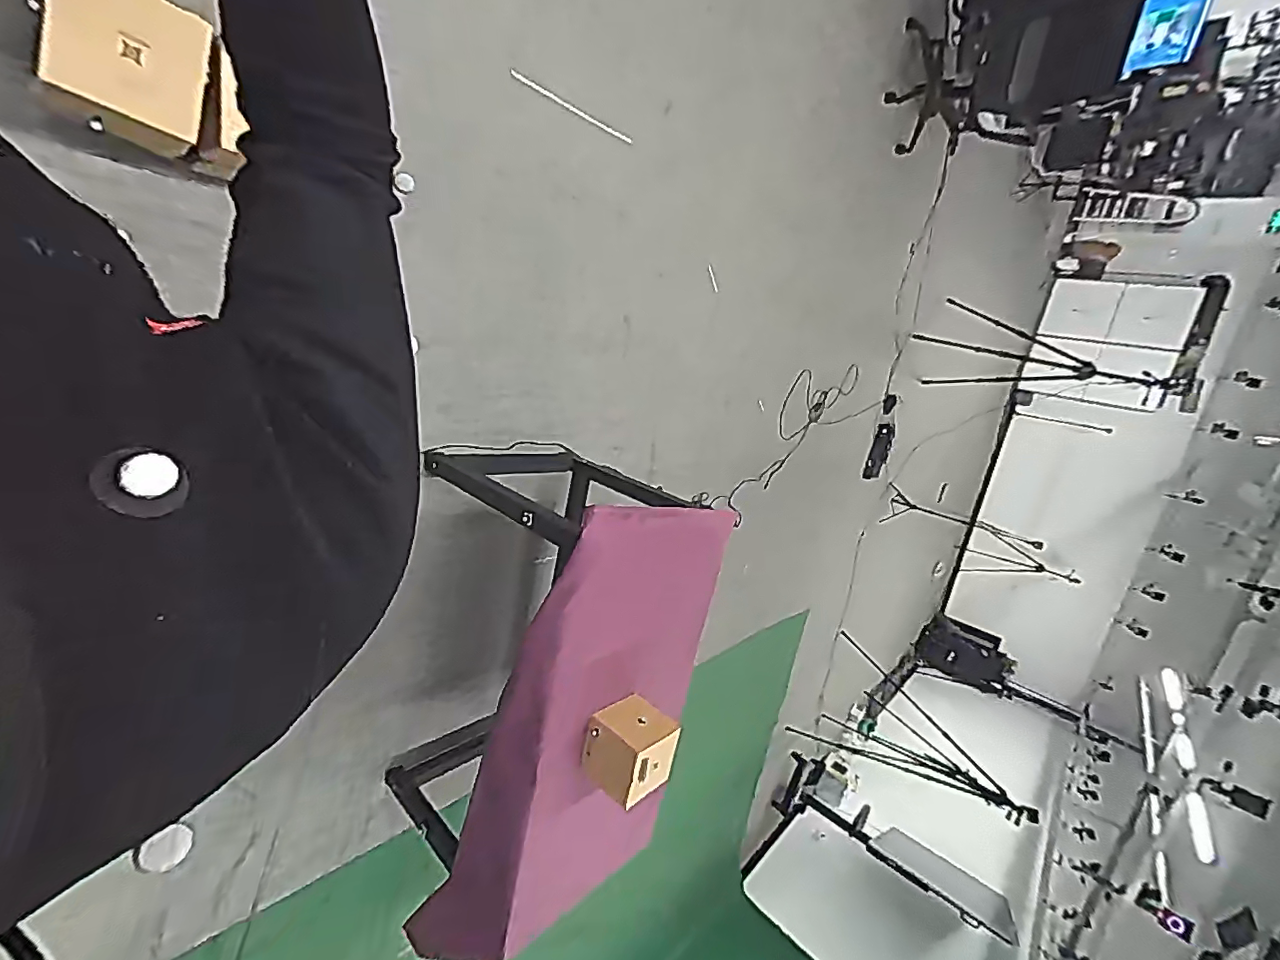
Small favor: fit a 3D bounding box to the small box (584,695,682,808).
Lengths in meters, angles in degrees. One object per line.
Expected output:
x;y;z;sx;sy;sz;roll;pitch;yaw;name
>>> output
-0.022;0.692;1.401;0.179;0.176;0.168;-2;108;-50;small box
